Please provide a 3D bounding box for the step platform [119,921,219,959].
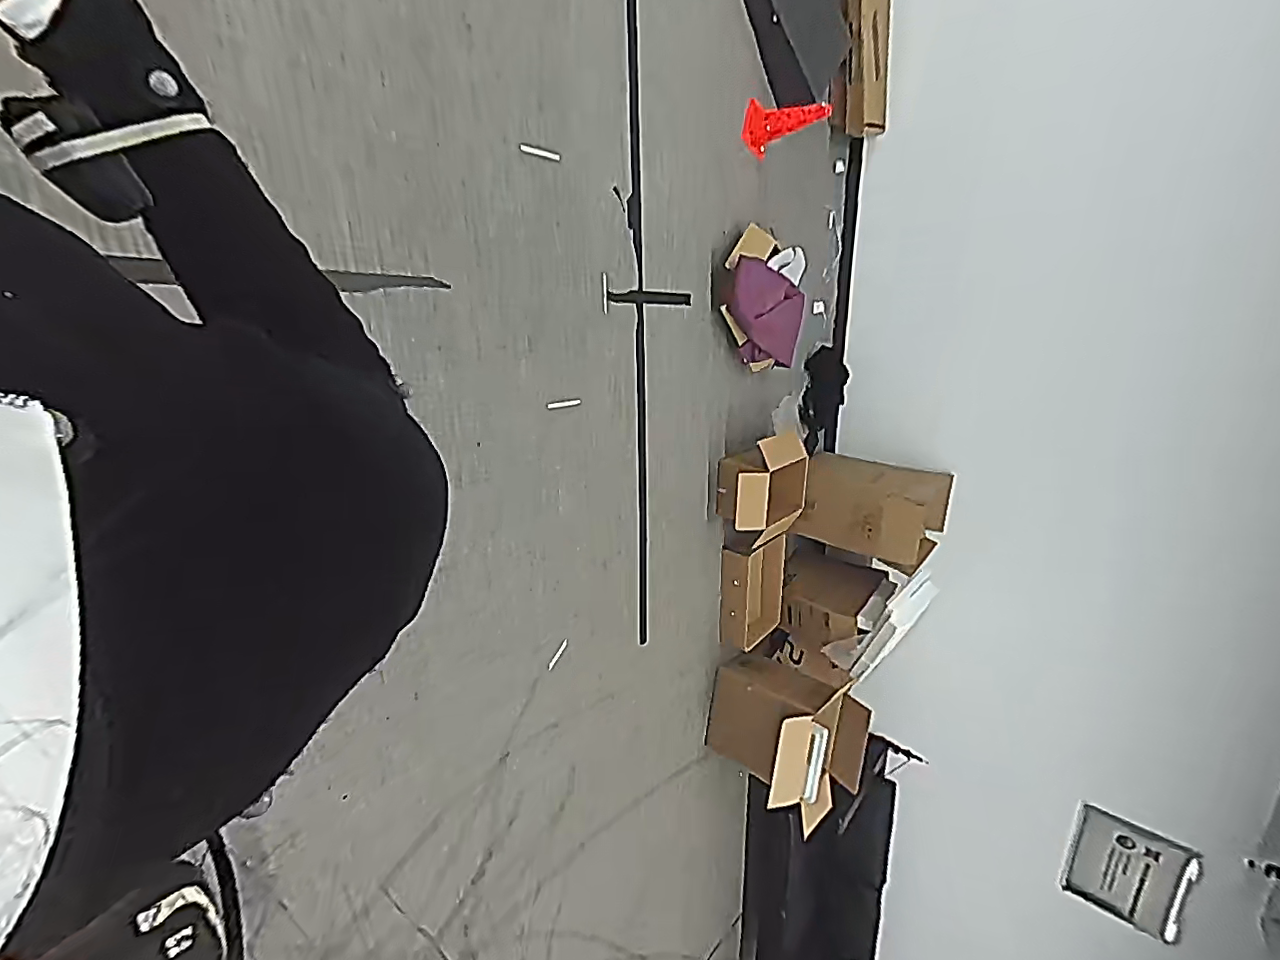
[{"bbox_3d":[-1.130,1.170,0.942,0.684,0.204,0.286,-20,116,-44],"label":"step platform"}]
